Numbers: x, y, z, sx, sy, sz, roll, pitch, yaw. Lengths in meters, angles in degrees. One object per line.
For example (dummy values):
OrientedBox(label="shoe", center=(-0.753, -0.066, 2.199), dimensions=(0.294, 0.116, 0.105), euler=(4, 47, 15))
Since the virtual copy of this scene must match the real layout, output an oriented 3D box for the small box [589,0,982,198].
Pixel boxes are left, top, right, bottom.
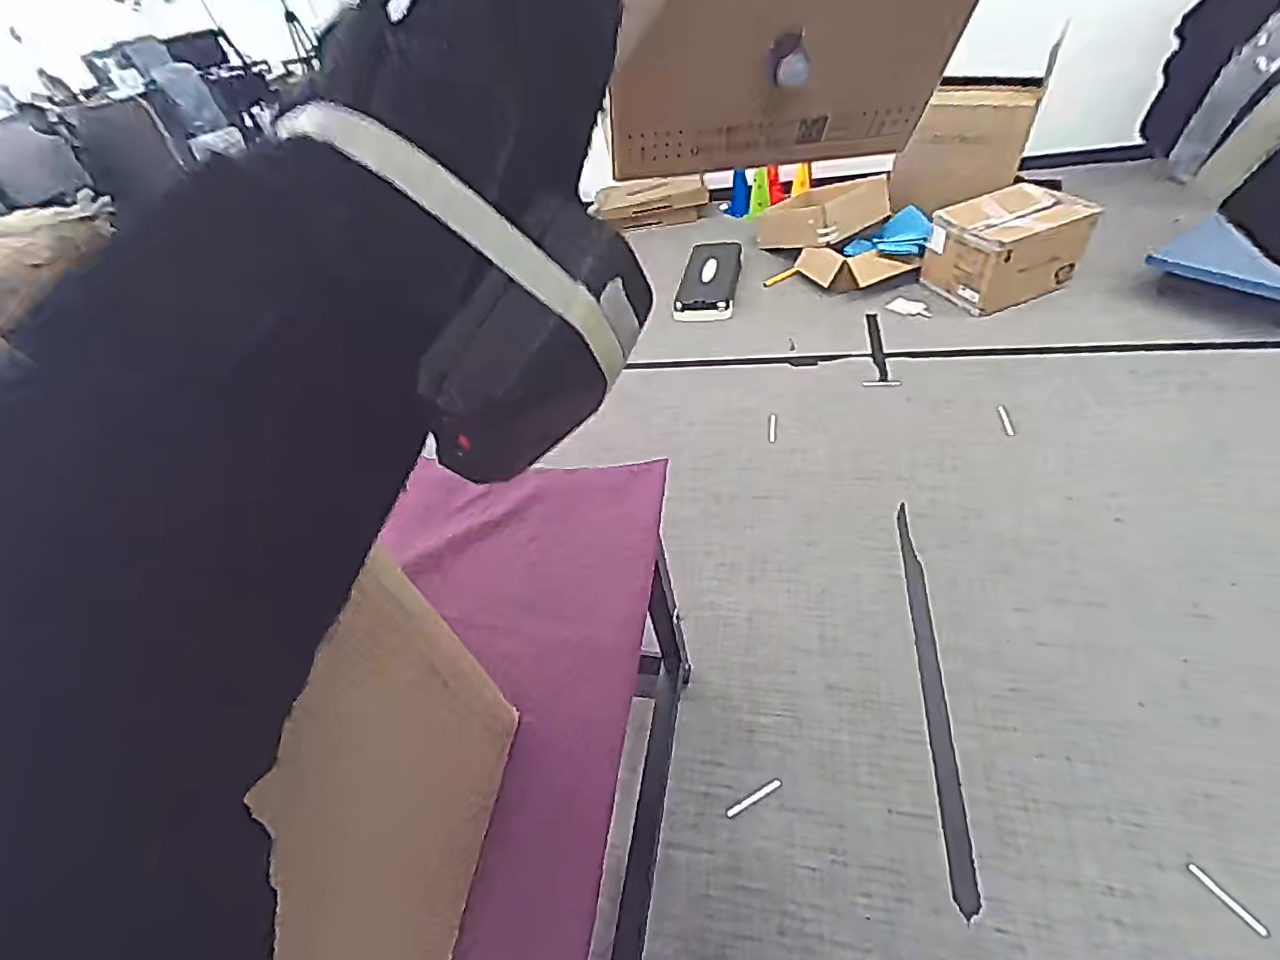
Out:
OrientedBox(label="small box", center=(0.058, -0.274, 0.263), dimensions=(0.168, 0.176, 0.179), euler=(-8, 68, -3))
